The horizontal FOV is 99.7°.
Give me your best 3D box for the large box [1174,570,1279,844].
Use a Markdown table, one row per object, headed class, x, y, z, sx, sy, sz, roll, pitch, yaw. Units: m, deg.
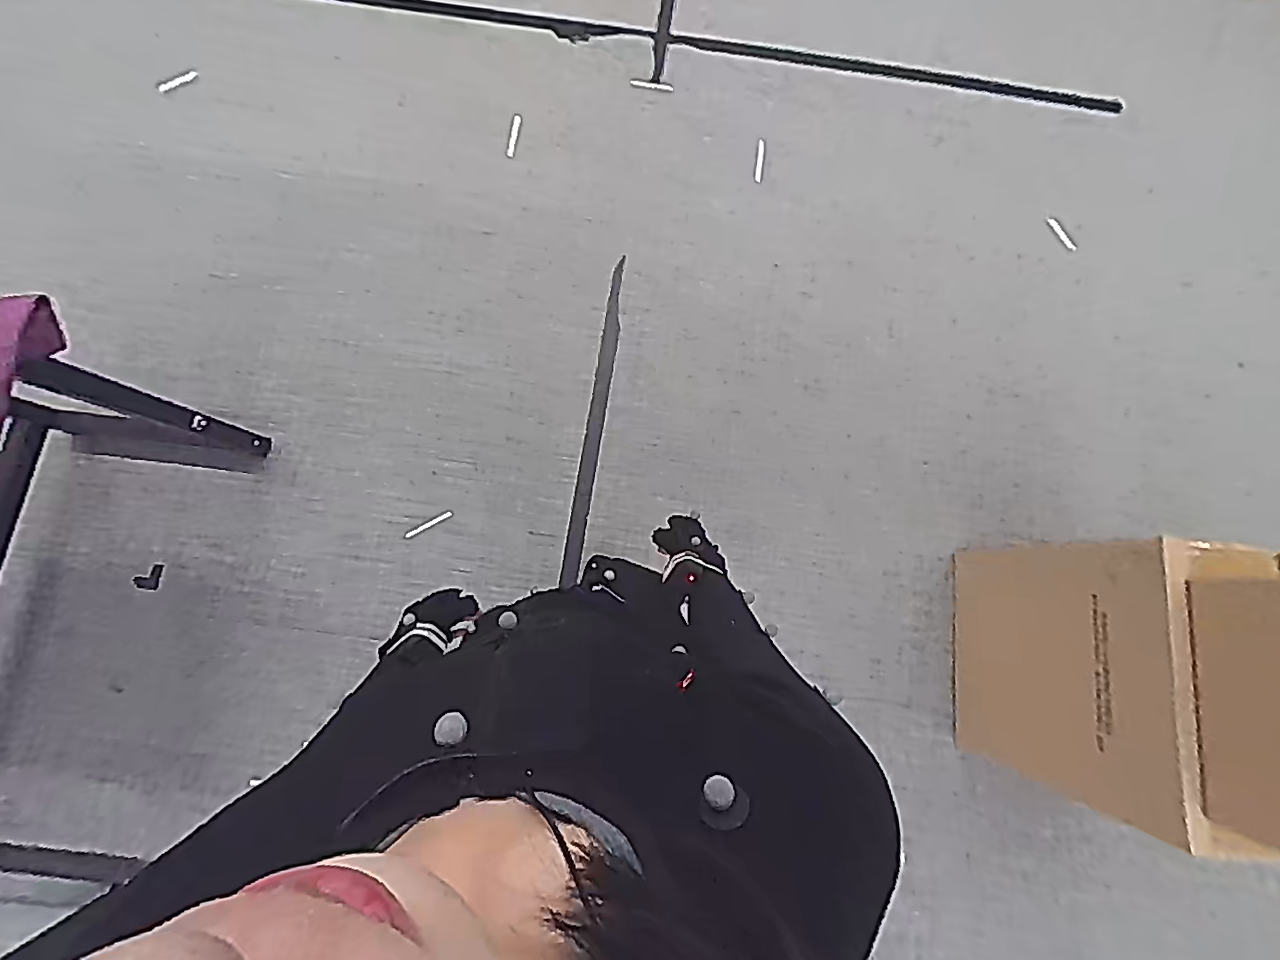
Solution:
| class | x | y | z | sx | sy | sz | roll | pitch | yaw |
| --- | --- | --- | --- | --- | --- | --- | --- | --- | --- |
| large box | 1.094 | 0.342 | 0.792 | 0.320 | 0.320 | 0.408 | 5 | 80 | -1 |
